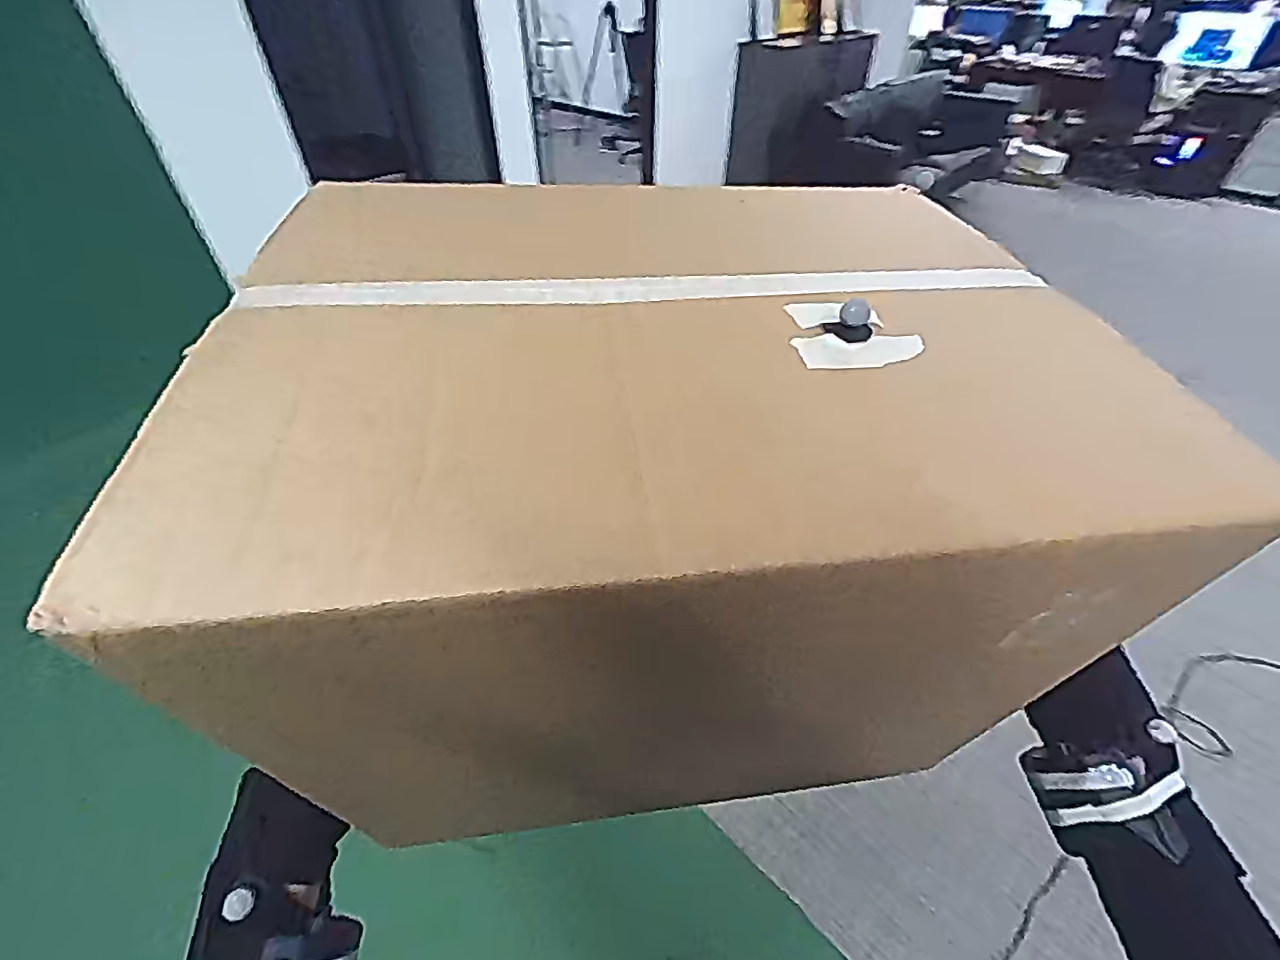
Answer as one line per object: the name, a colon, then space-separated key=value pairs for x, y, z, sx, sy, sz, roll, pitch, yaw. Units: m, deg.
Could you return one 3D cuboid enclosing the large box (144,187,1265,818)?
large box: x=0.019 y=0.010 z=0.389 sx=0.408 sy=0.320 sz=0.320 roll=-3 pitch=49 yaw=-8
